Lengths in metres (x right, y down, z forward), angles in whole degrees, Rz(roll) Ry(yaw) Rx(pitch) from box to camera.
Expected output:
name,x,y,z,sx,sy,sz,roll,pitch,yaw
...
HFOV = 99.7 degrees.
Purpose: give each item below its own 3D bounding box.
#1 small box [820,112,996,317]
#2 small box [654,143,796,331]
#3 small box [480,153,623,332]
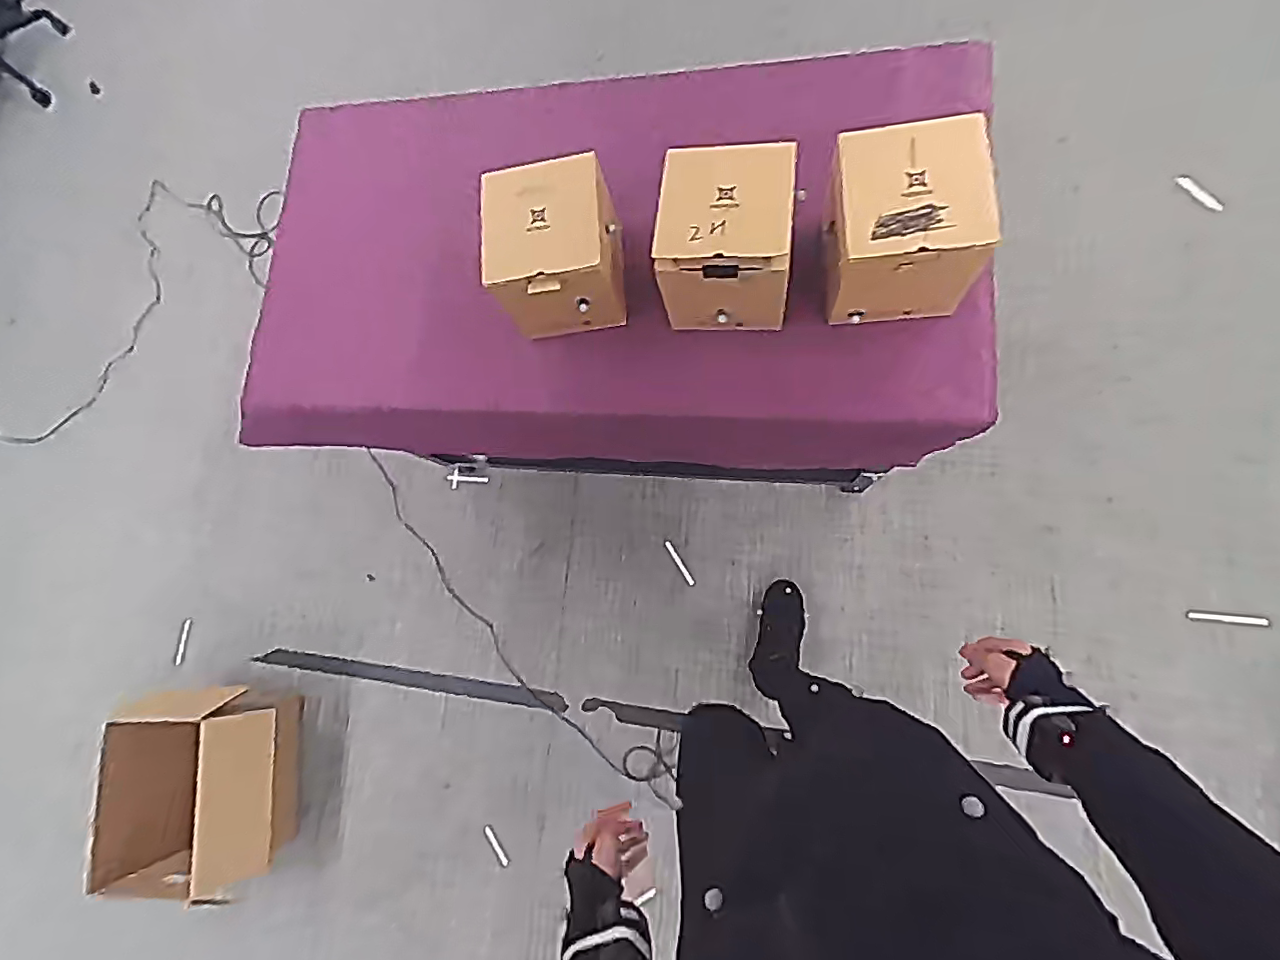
name,x,y,z,sx,sy,sz,roll,pitch,yaw
small box,0.335,-0.329,0.709,0.168,0.176,0.179,-2,78,11
small box,0.119,-0.327,0.751,0.168,0.176,0.179,4,81,12
small box,-0.123,-0.334,0.802,0.168,0.176,0.179,-6,78,9
